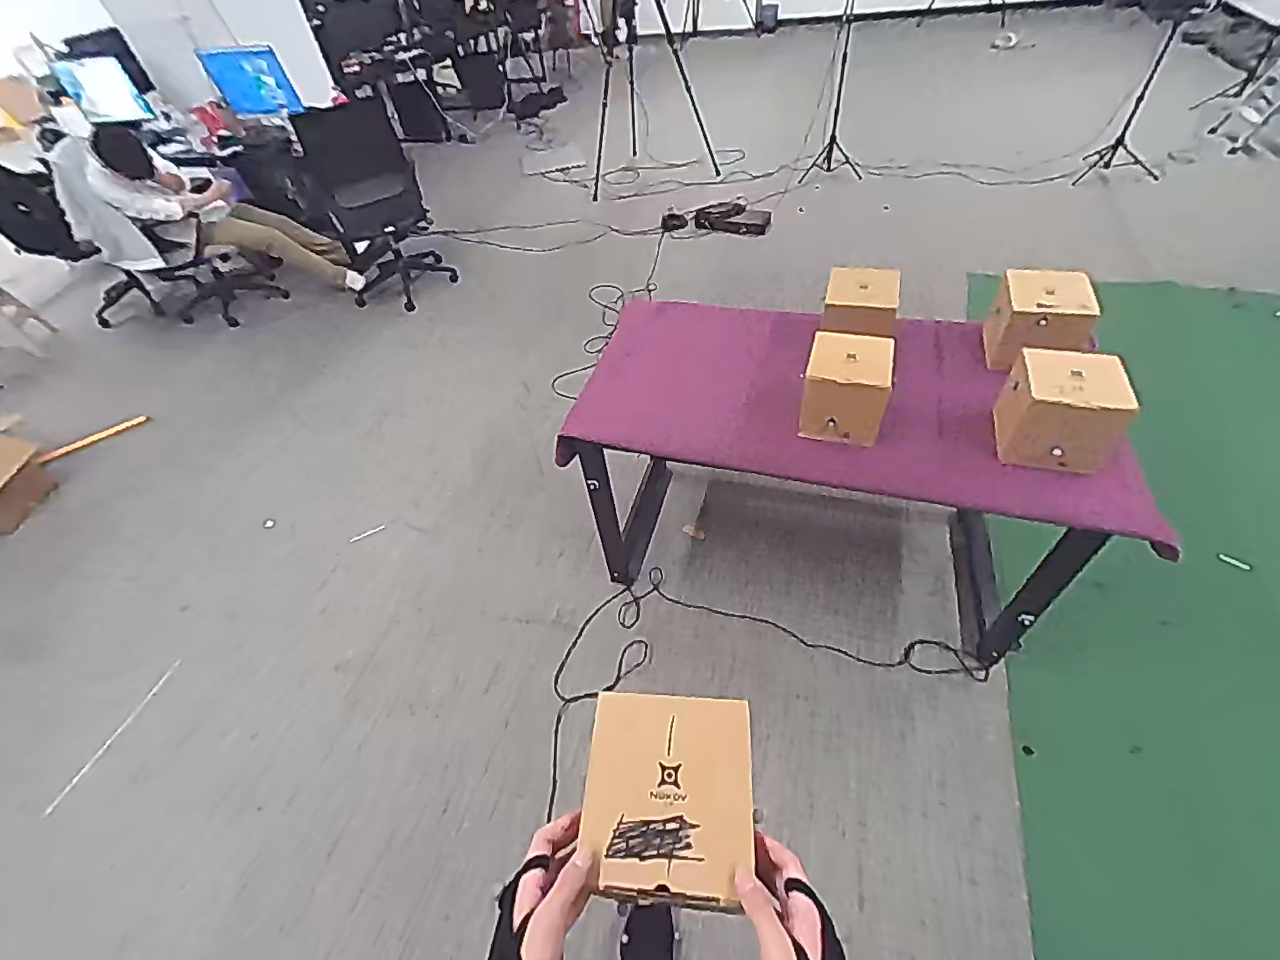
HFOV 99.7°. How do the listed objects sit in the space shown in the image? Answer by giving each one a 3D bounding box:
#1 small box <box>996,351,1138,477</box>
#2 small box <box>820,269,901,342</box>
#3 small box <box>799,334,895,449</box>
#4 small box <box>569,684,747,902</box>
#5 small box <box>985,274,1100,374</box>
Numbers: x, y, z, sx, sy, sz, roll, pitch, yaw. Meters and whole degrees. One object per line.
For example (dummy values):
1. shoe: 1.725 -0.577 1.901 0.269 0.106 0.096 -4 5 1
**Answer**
1. small box: 0.838 -0.133 1.085 0.168 0.176 0.179 11 49 18
2. small box: 0.557 -0.413 1.382 0.168 0.176 0.179 11 52 17
3. small box: 0.455 -0.197 1.199 0.168 0.176 0.179 11 50 17
4. small box: 0.032 0.346 0.596 0.168 0.176 0.179 1 49 8
5. small box: 0.939 -0.366 1.283 0.168 0.176 0.179 9 51 18
